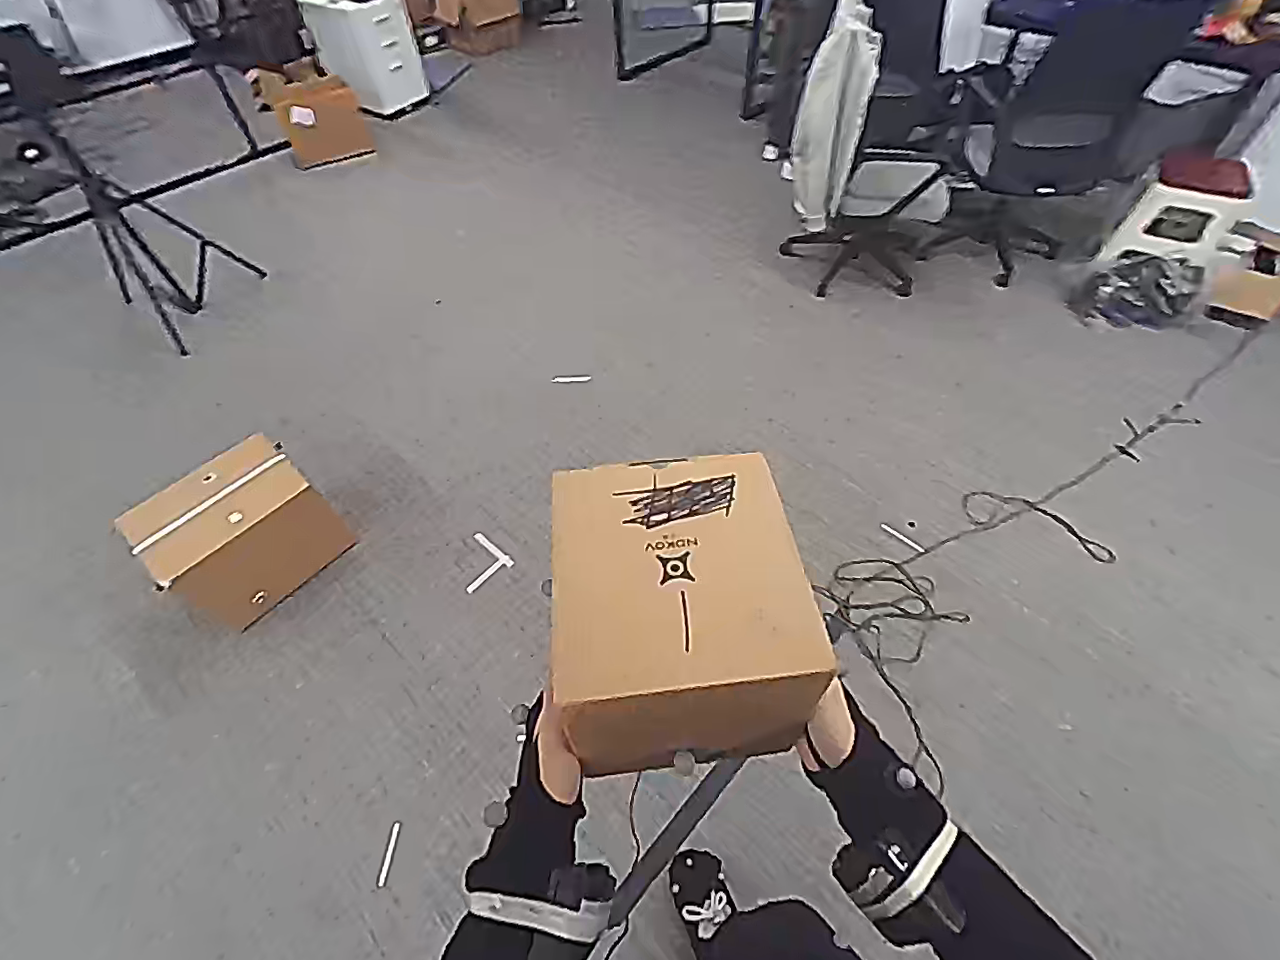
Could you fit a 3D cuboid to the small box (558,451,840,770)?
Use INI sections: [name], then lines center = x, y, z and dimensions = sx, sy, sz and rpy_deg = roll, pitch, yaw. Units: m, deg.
[small box]
center = 0.028, 0.102, 0.421
dimensions = 0.168, 0.176, 0.179
rpy_deg = -6, 50, -3
